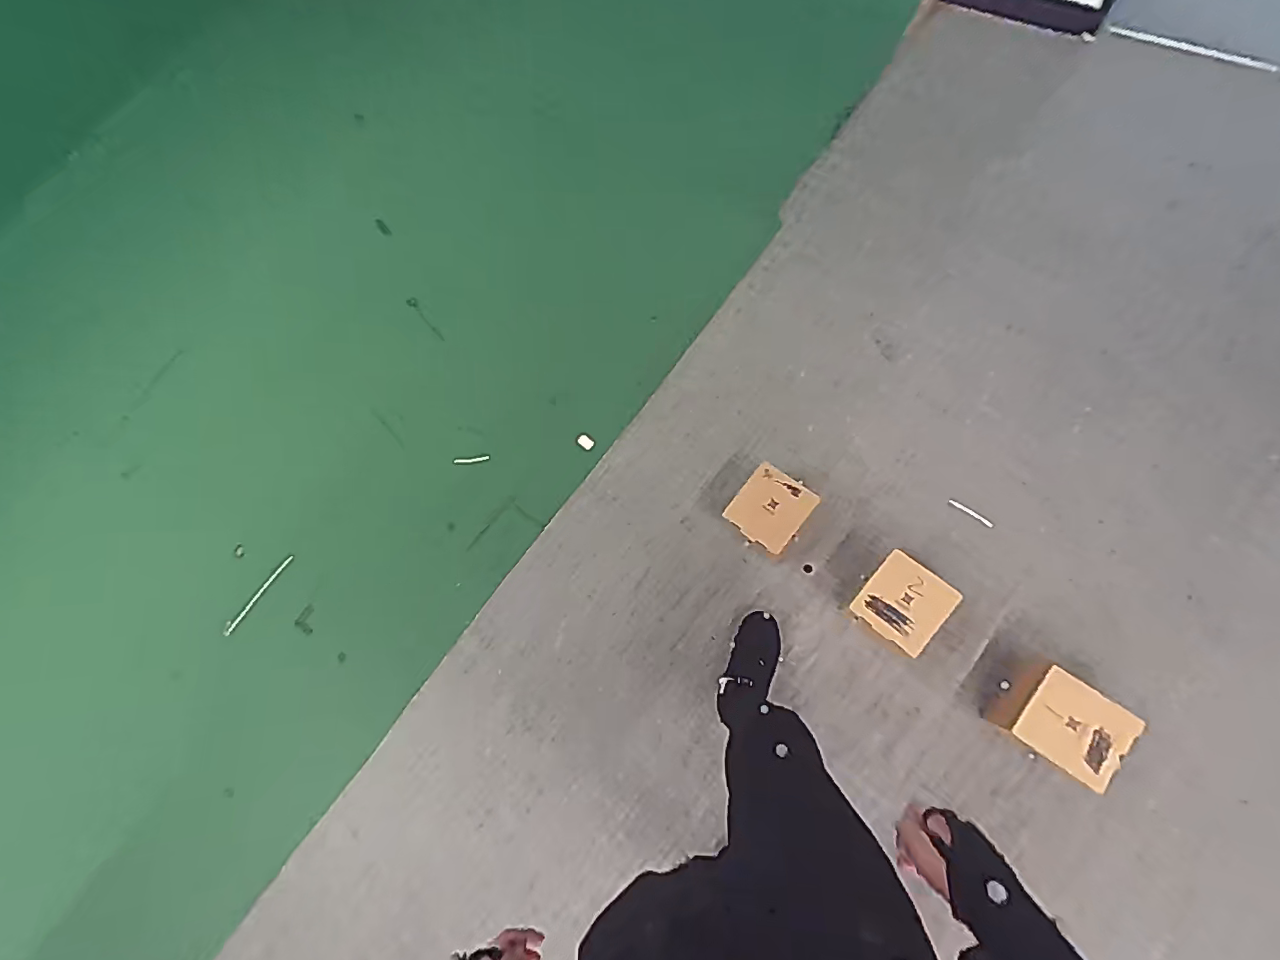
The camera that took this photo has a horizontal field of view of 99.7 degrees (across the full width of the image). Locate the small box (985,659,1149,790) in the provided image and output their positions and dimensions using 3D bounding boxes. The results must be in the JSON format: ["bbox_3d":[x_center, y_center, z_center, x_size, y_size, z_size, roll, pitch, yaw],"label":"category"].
[{"bbox_3d":[0.862,0.486,1.112,0.179,0.176,0.168,35,86,20],"label":"small box"}]

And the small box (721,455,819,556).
[{"bbox_3d":[0.327,0.072,1.354,0.168,0.176,0.179,38,87,19],"label":"small box"}]
